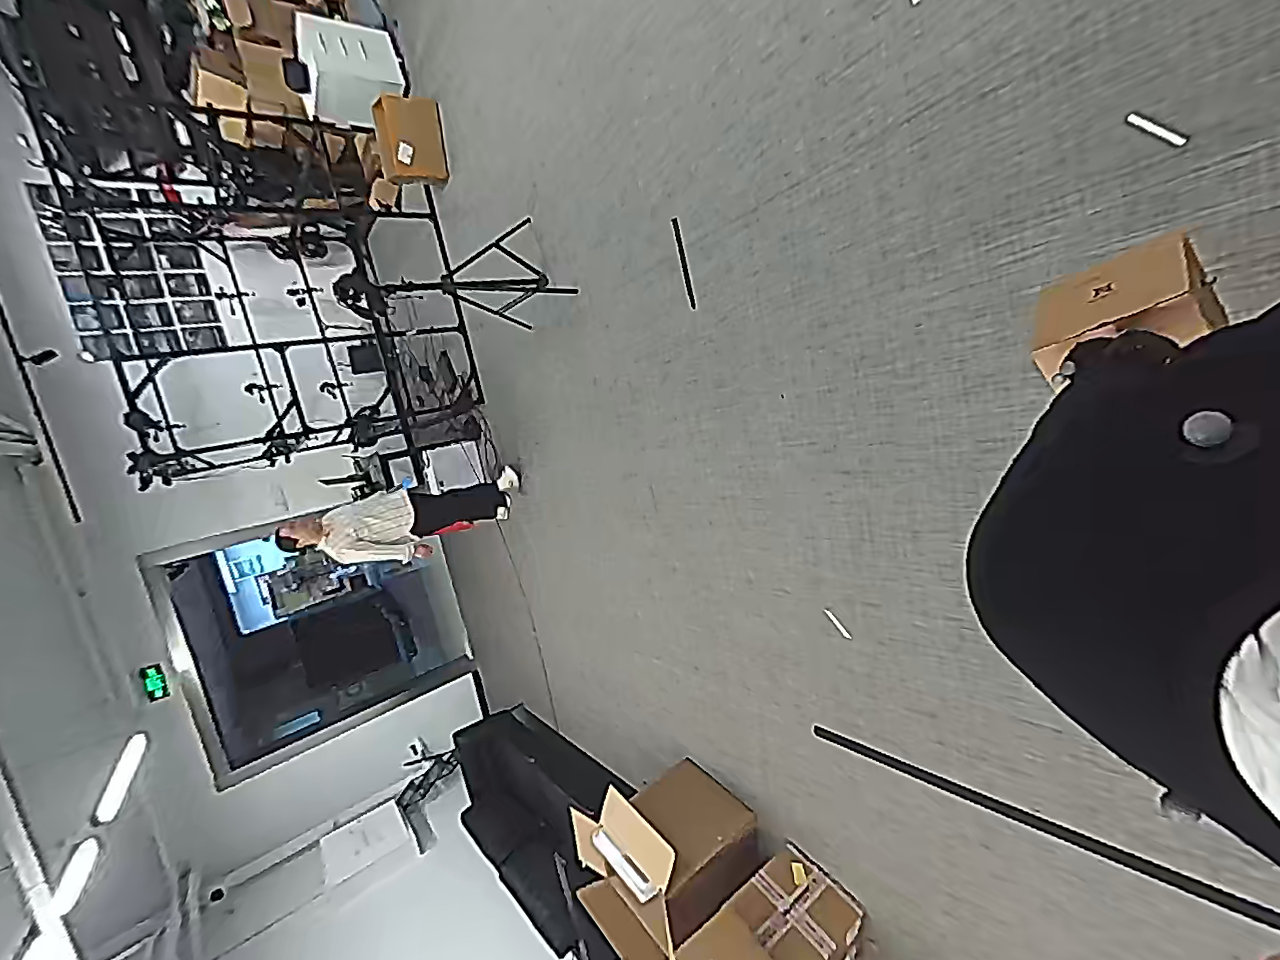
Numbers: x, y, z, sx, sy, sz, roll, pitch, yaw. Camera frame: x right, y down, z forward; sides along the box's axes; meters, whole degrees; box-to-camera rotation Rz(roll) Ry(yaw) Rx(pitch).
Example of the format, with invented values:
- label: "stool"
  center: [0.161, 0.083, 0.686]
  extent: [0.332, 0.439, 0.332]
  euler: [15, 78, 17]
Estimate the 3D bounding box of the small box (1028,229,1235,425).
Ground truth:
- label: "small box"
  center: [0.675, -0.197, 0.749]
  extent: [0.176, 0.179, 0.168]
  euler: [45, 146, -17]
